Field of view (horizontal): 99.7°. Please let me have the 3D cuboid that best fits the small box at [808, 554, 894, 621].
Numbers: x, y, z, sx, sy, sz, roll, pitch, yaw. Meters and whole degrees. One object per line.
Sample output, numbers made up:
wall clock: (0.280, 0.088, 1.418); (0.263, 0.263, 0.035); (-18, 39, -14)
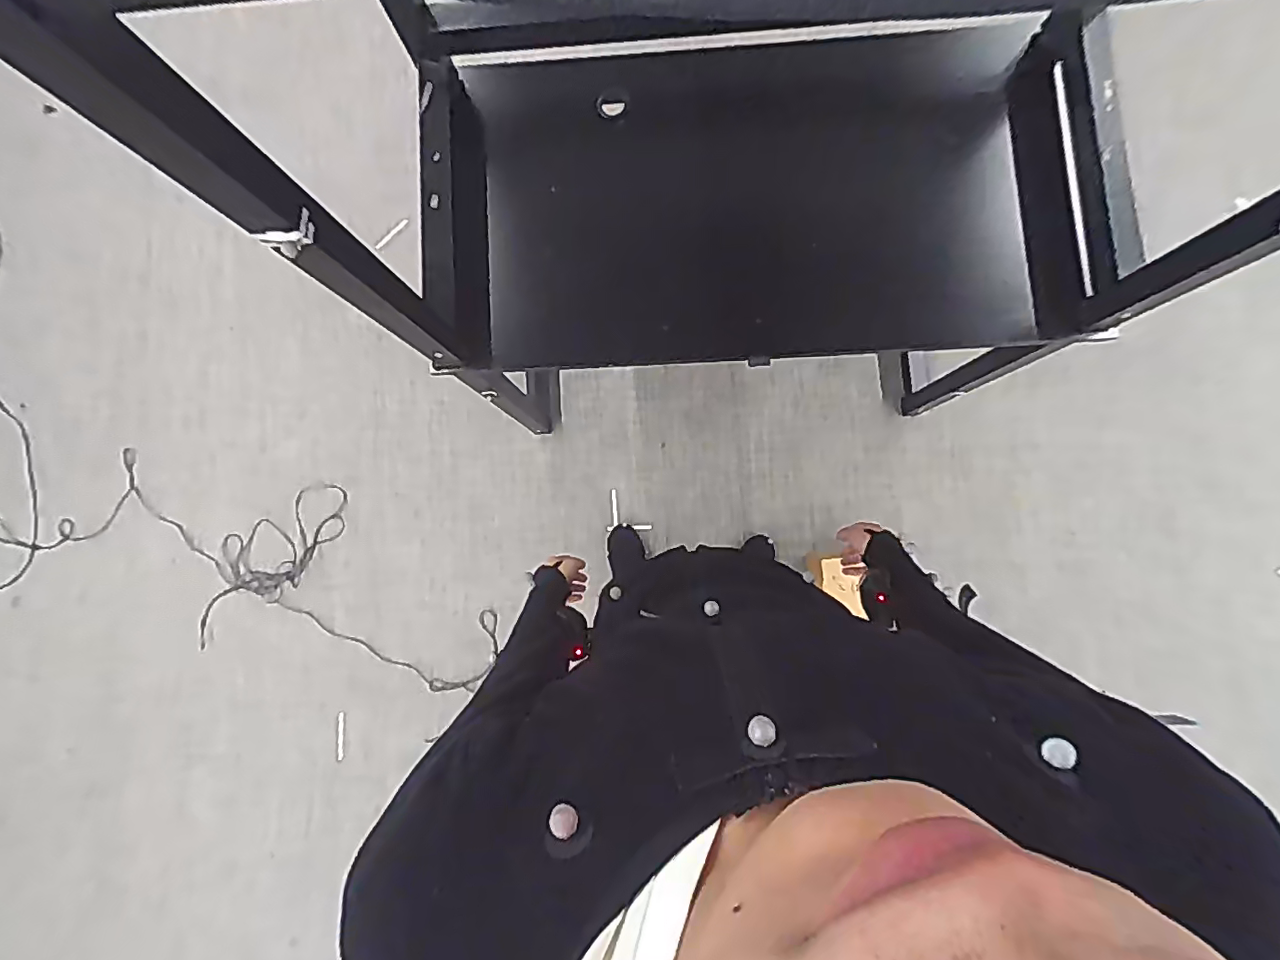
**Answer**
small box: (0.591, 0.299, 1.533); (0.179, 0.176, 0.168); (-5, 84, 3)
